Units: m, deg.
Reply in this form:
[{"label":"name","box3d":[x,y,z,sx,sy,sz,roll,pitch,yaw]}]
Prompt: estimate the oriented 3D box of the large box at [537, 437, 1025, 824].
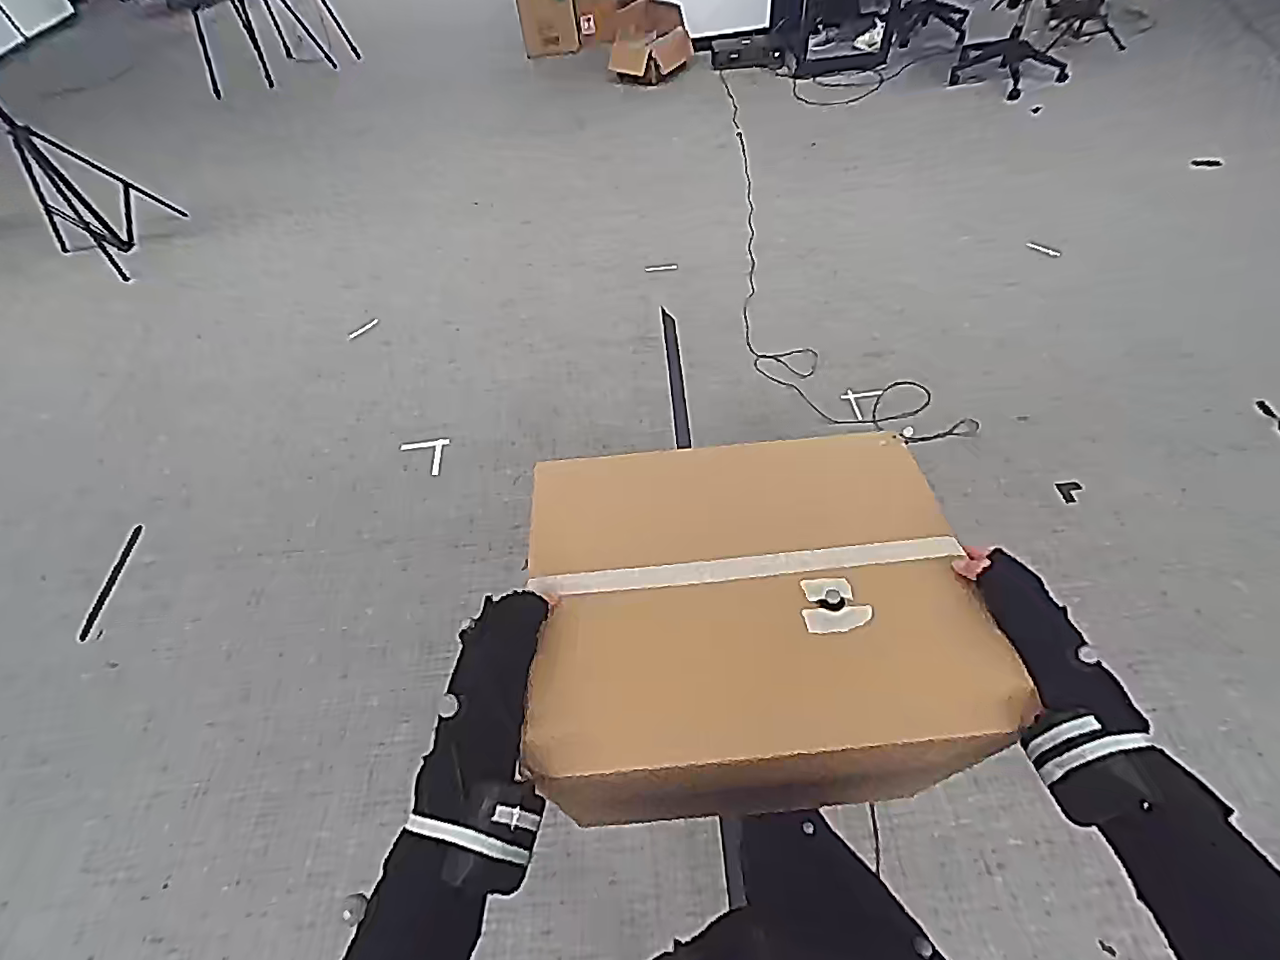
[{"label":"large box","box3d":[0.107,0.182,0.637,0.408,0.320,0.320,-5,51,-1]}]
